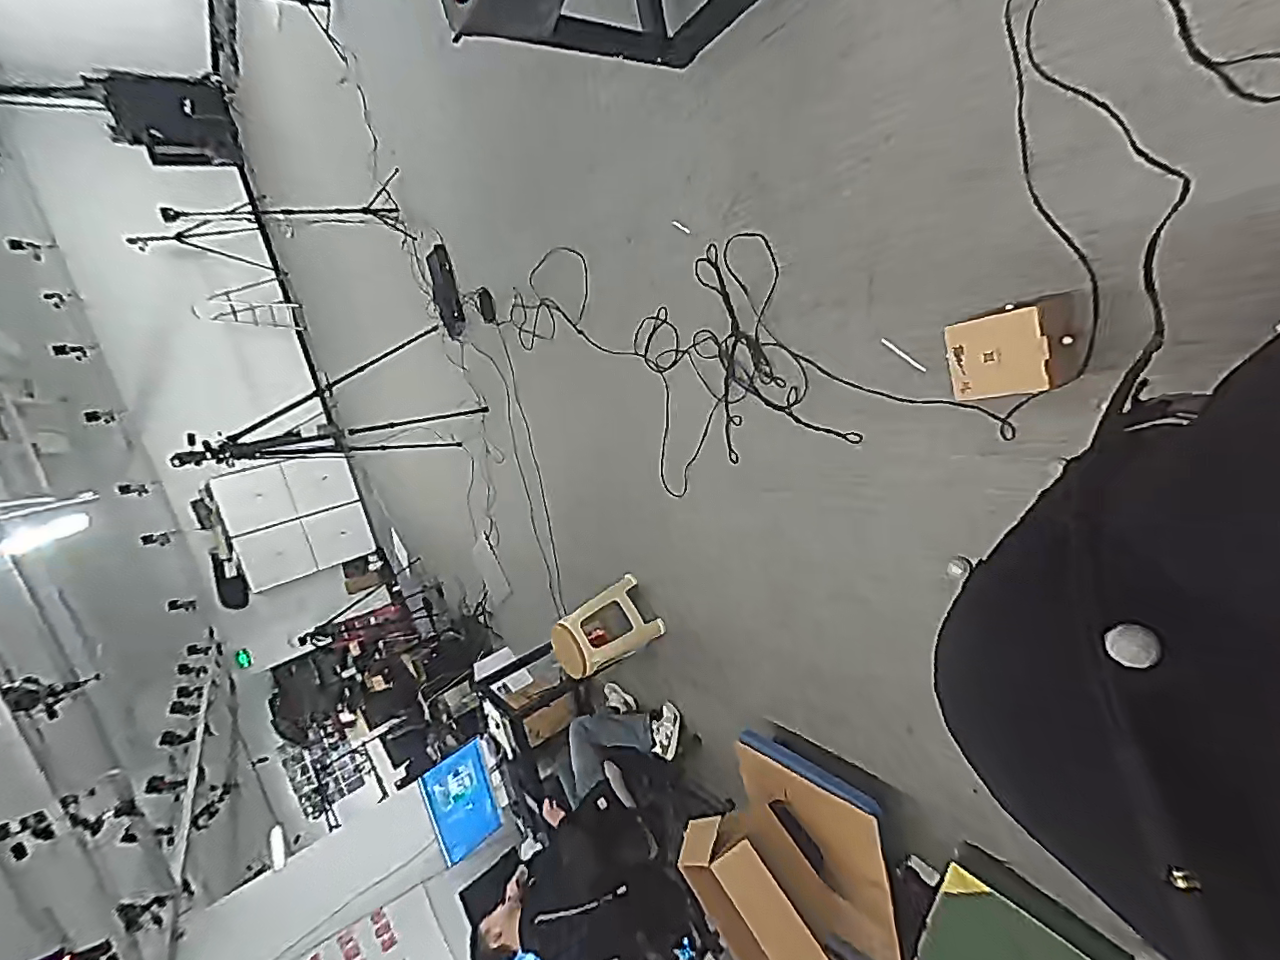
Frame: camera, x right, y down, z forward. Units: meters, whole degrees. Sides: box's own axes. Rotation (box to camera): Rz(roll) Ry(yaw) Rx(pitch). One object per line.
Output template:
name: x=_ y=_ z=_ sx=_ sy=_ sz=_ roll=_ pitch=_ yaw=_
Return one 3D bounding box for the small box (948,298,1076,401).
small box: x=0.782 y=-0.273 z=1.132 sx=0.179 sy=0.176 sz=0.168 roll=-1 pitch=106 yaw=55
